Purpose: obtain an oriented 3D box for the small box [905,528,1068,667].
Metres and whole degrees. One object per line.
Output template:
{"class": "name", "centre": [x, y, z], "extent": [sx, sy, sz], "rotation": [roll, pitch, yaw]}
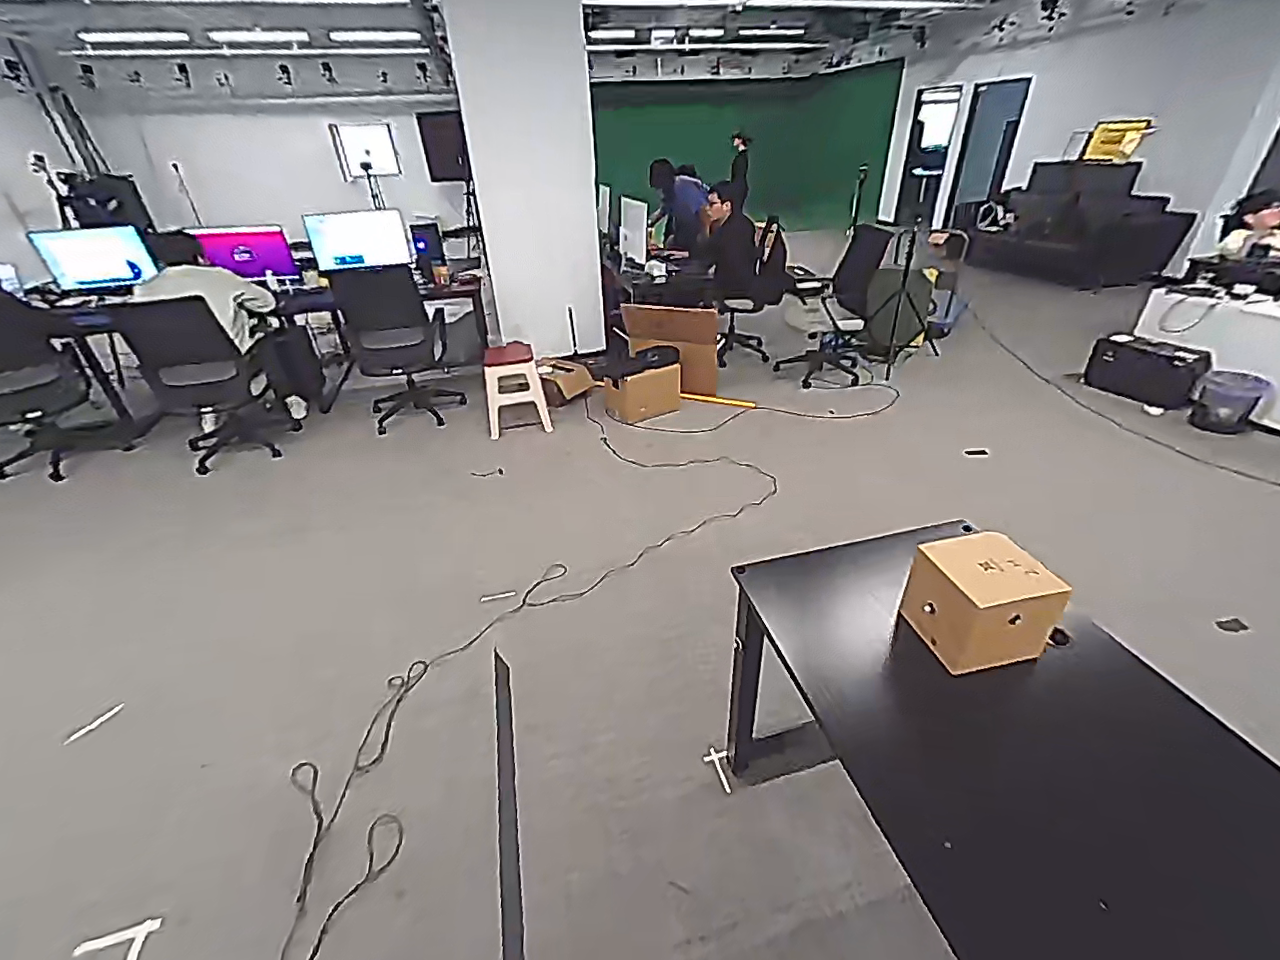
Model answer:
{"class": "small box", "centre": [0.610, 0.214, 0.982], "extent": [0.179, 0.176, 0.168], "rotation": [-9, 33, -9]}
